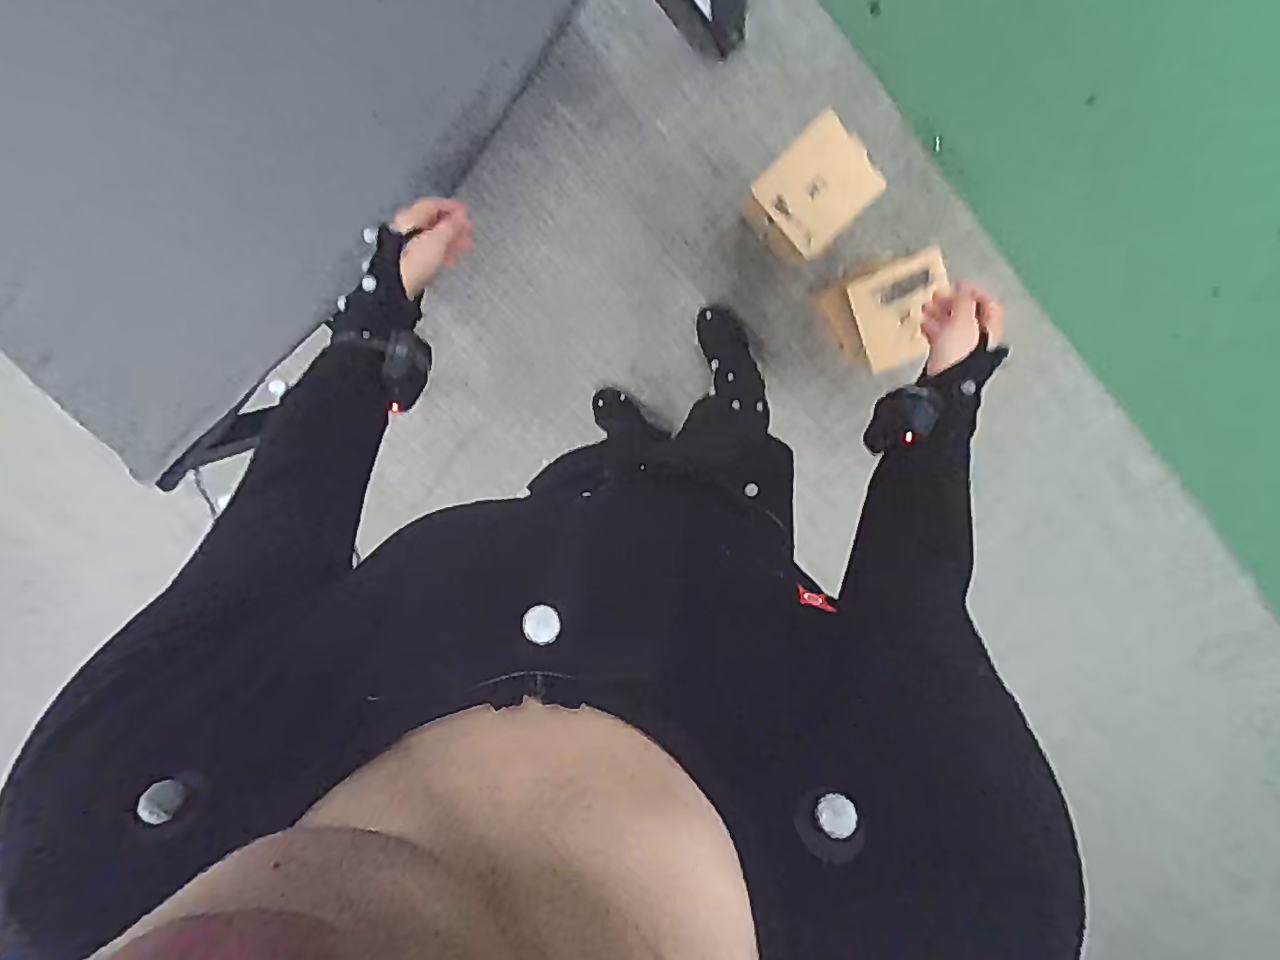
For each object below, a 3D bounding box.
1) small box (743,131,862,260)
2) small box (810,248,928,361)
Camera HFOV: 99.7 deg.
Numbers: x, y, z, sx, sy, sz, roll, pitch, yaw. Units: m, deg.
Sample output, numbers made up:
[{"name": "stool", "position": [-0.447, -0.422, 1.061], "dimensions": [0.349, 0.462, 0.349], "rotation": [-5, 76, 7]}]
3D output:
[{"name": "small box", "position": [0.339, -0.596, 1.159], "dimensions": [0.168, 0.176, 0.179], "rotation": [-41, 98, 19]}, {"name": "small box", "position": [0.502, -0.393, 1.206], "dimensions": [0.168, 0.176, 0.179], "rotation": [-31, 102, 18]}]
